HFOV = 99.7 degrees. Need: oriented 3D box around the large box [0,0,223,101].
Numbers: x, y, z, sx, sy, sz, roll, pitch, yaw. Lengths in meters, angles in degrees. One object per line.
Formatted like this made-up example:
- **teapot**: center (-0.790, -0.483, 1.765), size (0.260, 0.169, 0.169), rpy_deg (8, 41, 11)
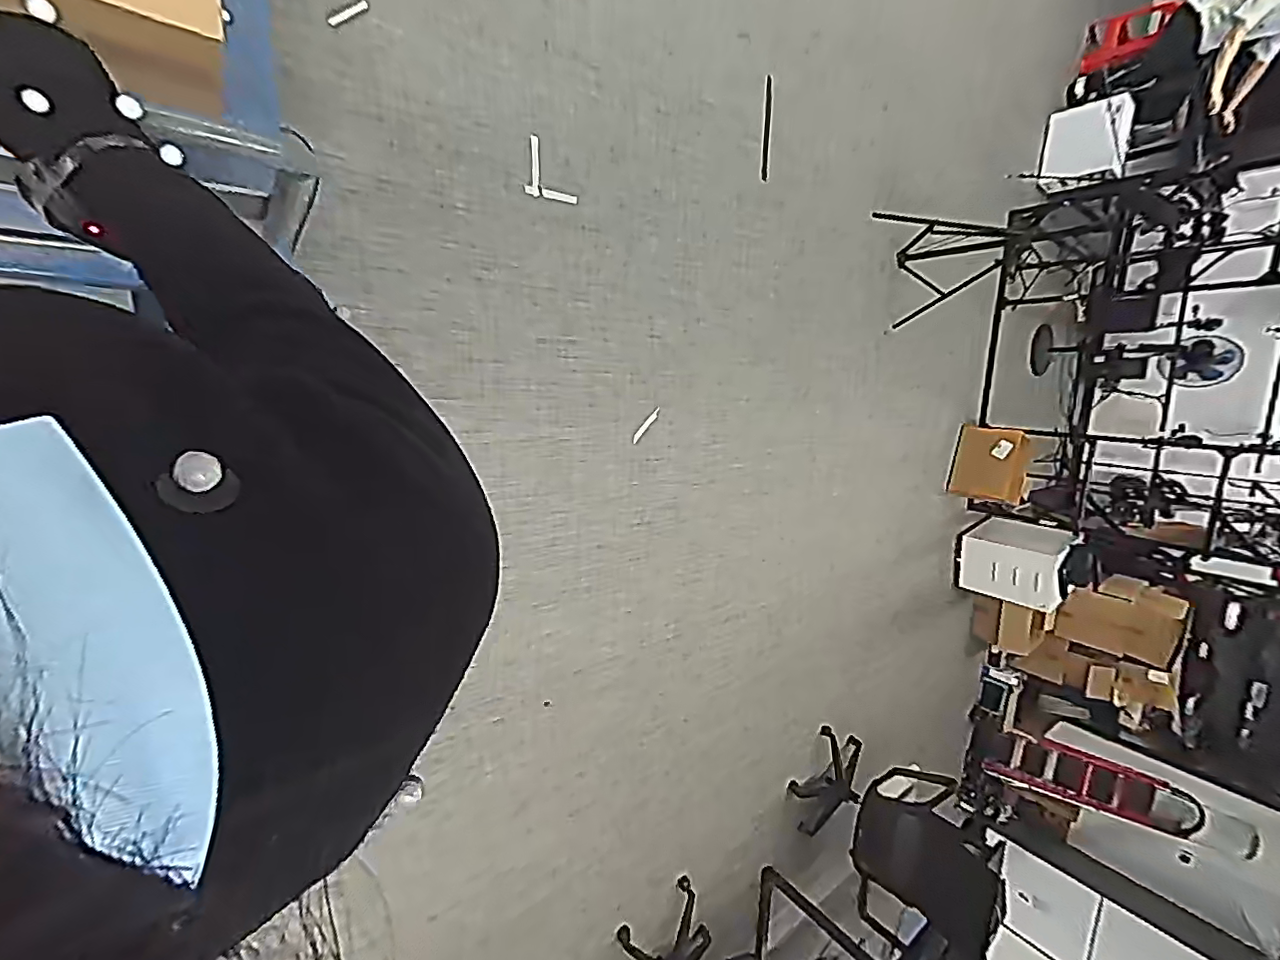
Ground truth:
- **large box**: center (-0.816, -0.779, 0.709), size (0.408, 0.320, 0.320), rpy_deg (-5, 102, -37)
